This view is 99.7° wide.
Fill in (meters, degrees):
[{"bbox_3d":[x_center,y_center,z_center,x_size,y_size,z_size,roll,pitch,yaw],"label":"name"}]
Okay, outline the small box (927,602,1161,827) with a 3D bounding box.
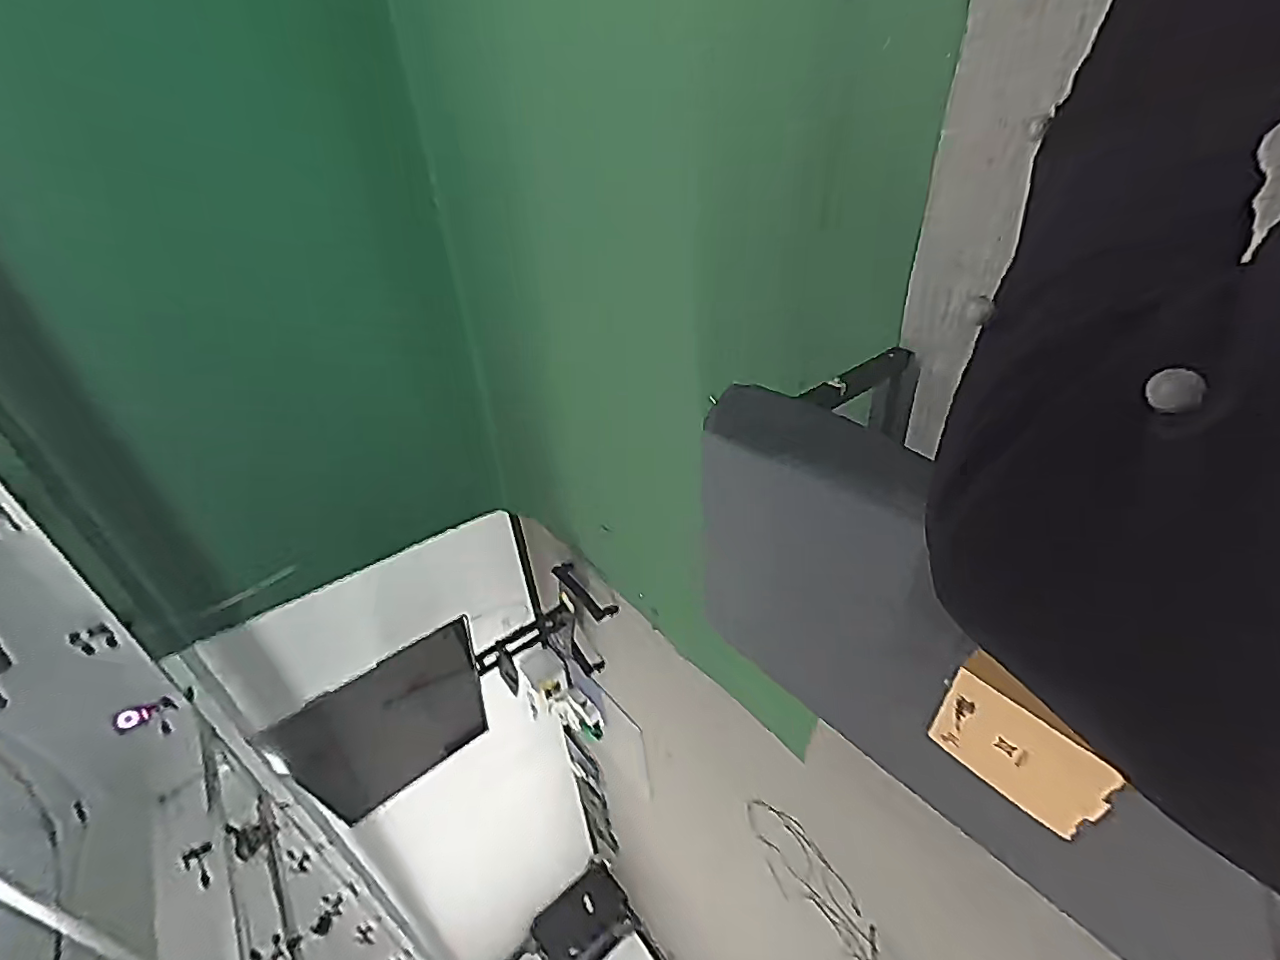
[{"bbox_3d":[0.520,0.293,0.707,0.179,0.176,0.168,34,141,41],"label":"small box"}]
